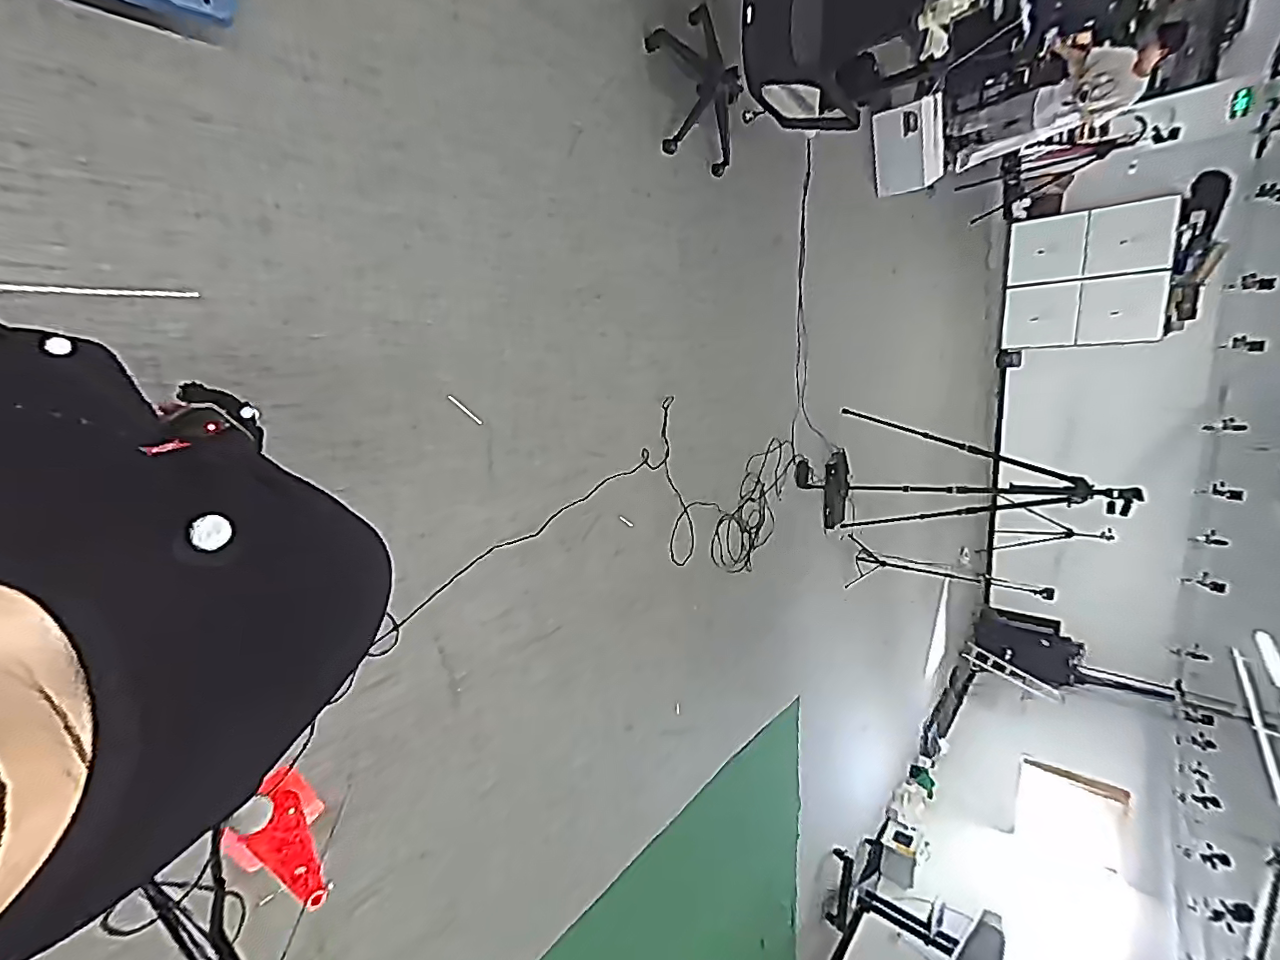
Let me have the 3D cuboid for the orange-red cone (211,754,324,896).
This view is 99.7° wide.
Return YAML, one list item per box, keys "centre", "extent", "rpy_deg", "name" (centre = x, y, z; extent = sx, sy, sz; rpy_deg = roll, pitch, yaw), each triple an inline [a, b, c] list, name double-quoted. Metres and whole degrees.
- centre: [-0.836, 0.861, 1.291]
  extent: [0.198, 0.360, 0.199]
  rpy_deg: [-37, 124, -38]
  name: "orange-red cone"
